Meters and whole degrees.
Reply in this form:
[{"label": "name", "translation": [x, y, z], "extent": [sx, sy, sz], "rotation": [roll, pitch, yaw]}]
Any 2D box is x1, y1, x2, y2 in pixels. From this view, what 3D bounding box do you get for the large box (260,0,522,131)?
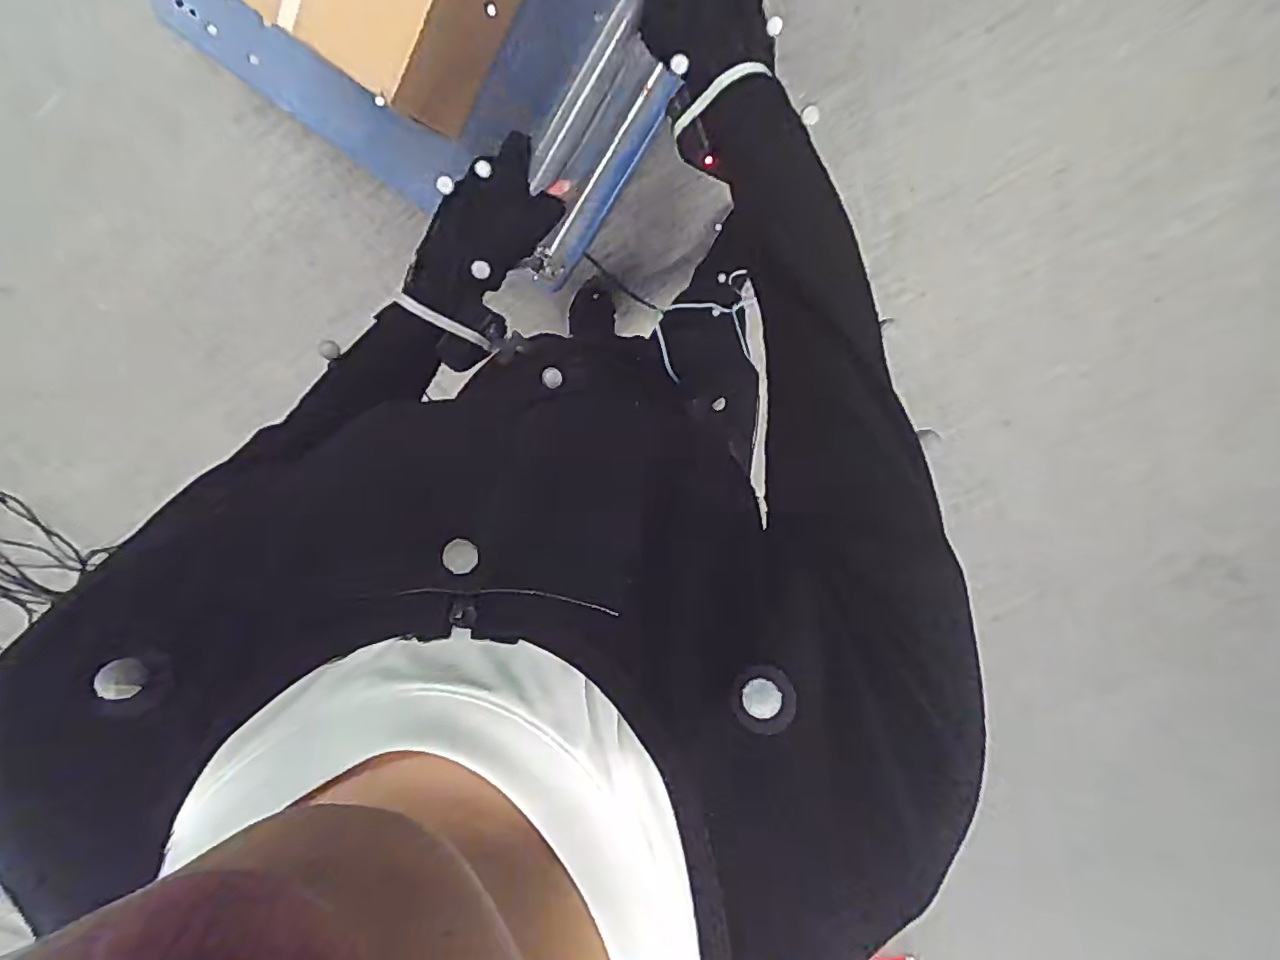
[{"label": "large box", "translation": [-0.367, -0.854, 0.837], "extent": [0.320, 0.320, 0.408], "rotation": [32, 111, -12]}]
